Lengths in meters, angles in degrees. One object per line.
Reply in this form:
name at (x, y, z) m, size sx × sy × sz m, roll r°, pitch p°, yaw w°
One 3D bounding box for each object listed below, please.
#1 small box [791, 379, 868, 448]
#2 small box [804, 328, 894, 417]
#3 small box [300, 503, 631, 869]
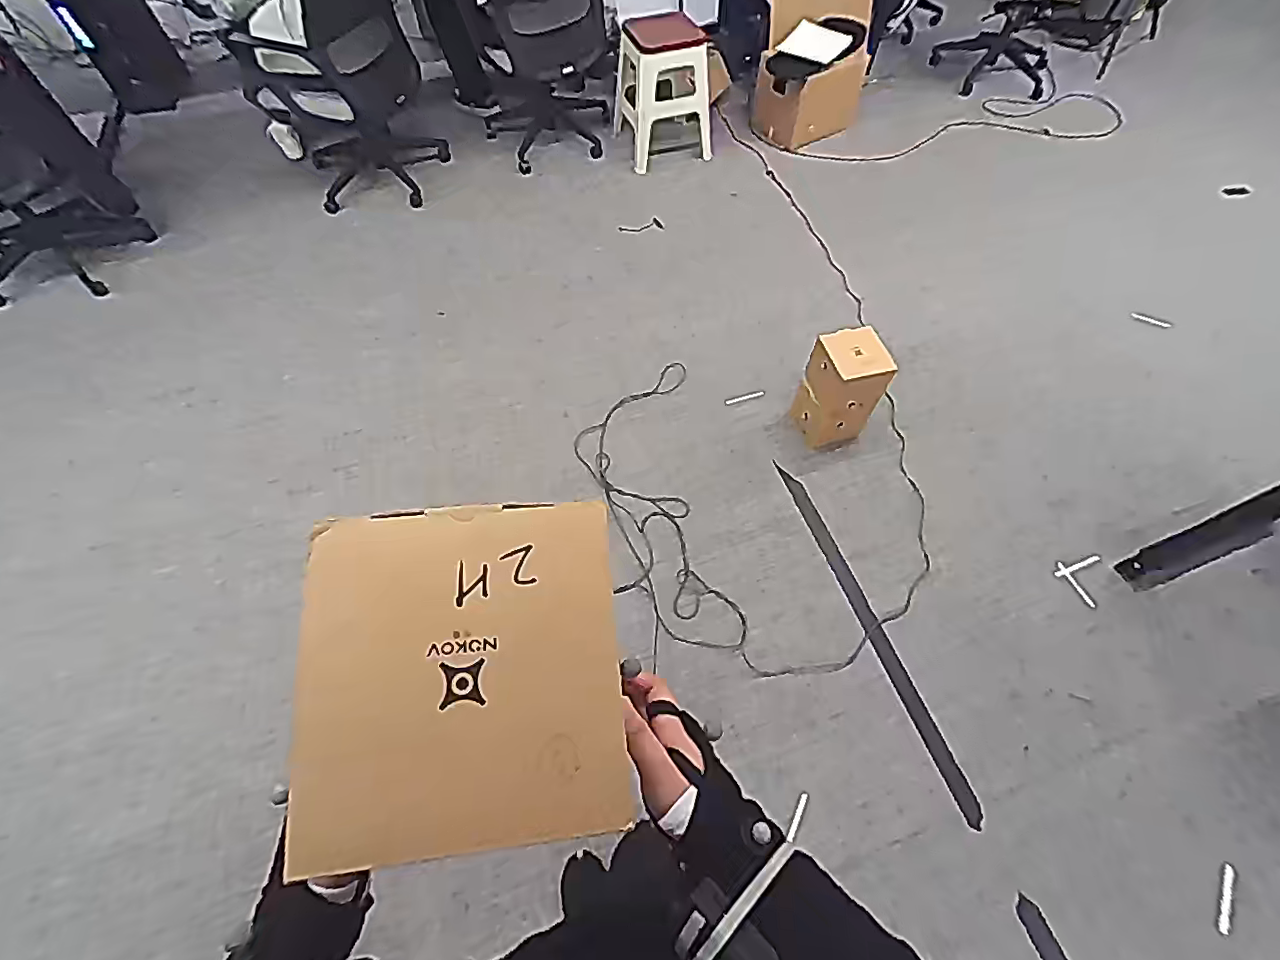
small box at (0.602, -0.226, 1.732) m, size 0.179 × 0.176 × 0.168 m, roll -17°, pitch 61°, yaw -9°
small box at (0.605, -0.314, 1.593) m, size 0.168 × 0.176 × 0.179 m, roll -13°, pitch 61°, yaw -6°
small box at (-0.099, 0.125, 0.369) m, size 0.168 × 0.176 × 0.179 m, roll -3°, pitch 71°, yaw -8°
